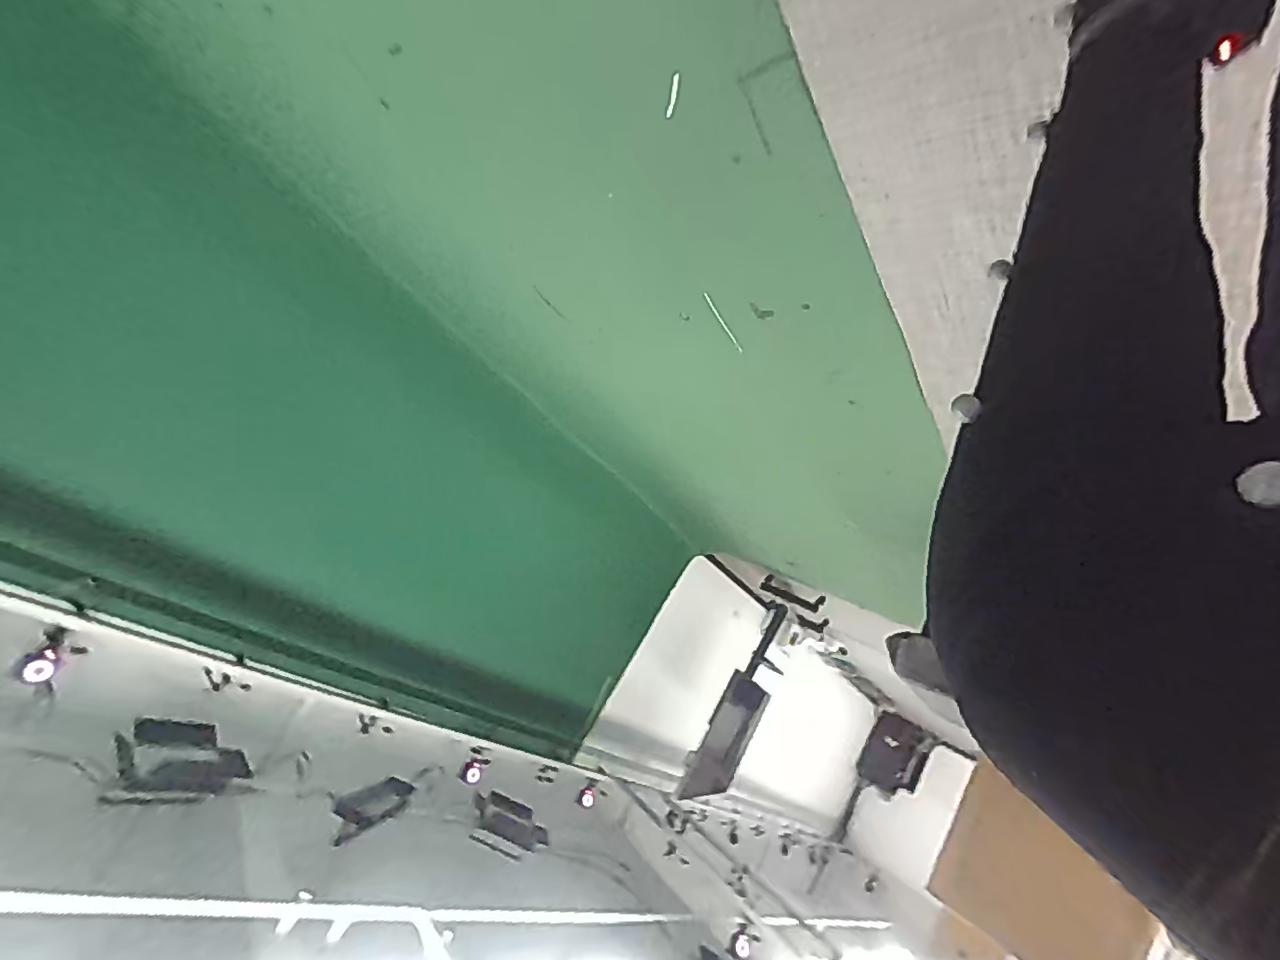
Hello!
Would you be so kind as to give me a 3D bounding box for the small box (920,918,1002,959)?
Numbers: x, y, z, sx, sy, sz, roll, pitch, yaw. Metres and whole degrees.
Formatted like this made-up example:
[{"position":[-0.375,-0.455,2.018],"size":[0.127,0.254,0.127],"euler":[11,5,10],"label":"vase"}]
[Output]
[{"position":[1.076,1.610,1.807],"size":[0.179,0.176,0.168],"euler":[13,154,52],"label":"small box"}]
